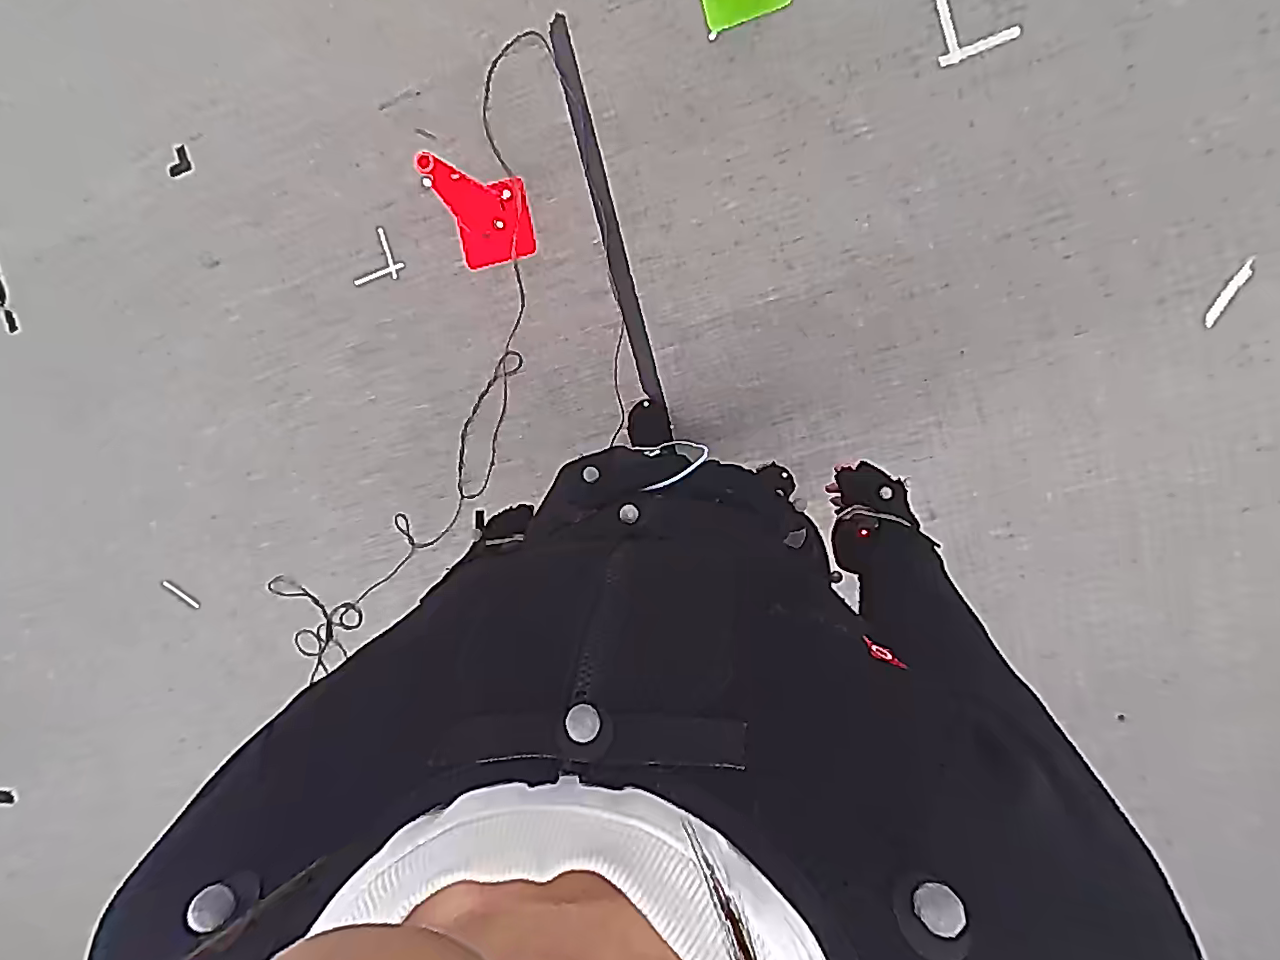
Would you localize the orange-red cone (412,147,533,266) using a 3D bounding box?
[{"bbox_3d":[-0.408,-0.652,1.235,0.199,0.360,0.198,-10,94,10],"label":"orange-red cone"}]

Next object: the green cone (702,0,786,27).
[{"bbox_3d":[0.212,-1.157,1.084,0.202,0.368,0.200,-14,95,8],"label":"green cone"}]
